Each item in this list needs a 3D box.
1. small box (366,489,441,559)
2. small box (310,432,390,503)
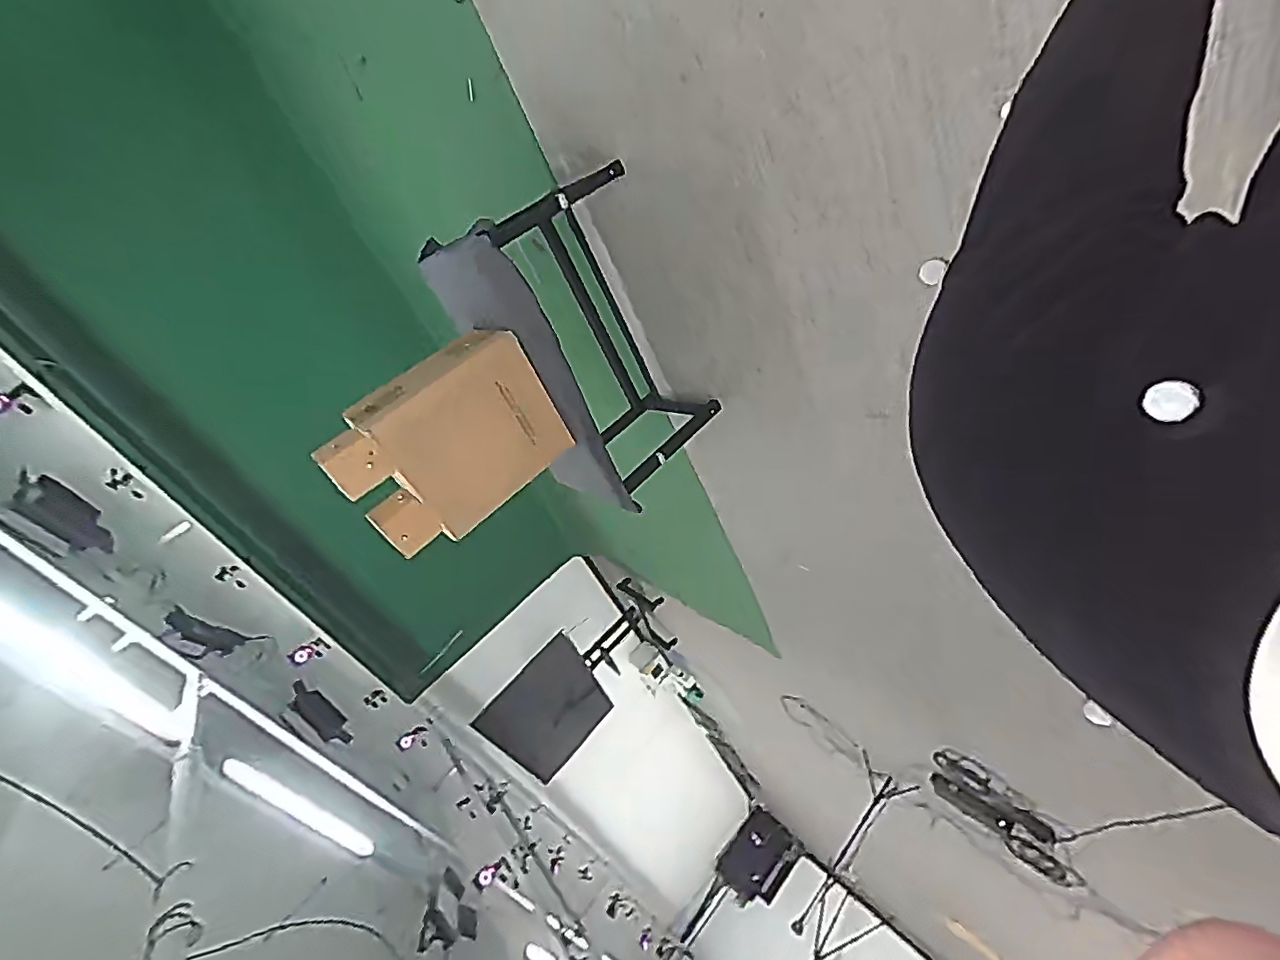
[{"bbox_3d":[-0.890,0.163,2.044,0.168,0.176,0.179,17,143,45],"label":"small box"},{"bbox_3d":[-1.010,-0.051,1.893,0.179,0.176,0.168,18,143,46],"label":"small box"}]
